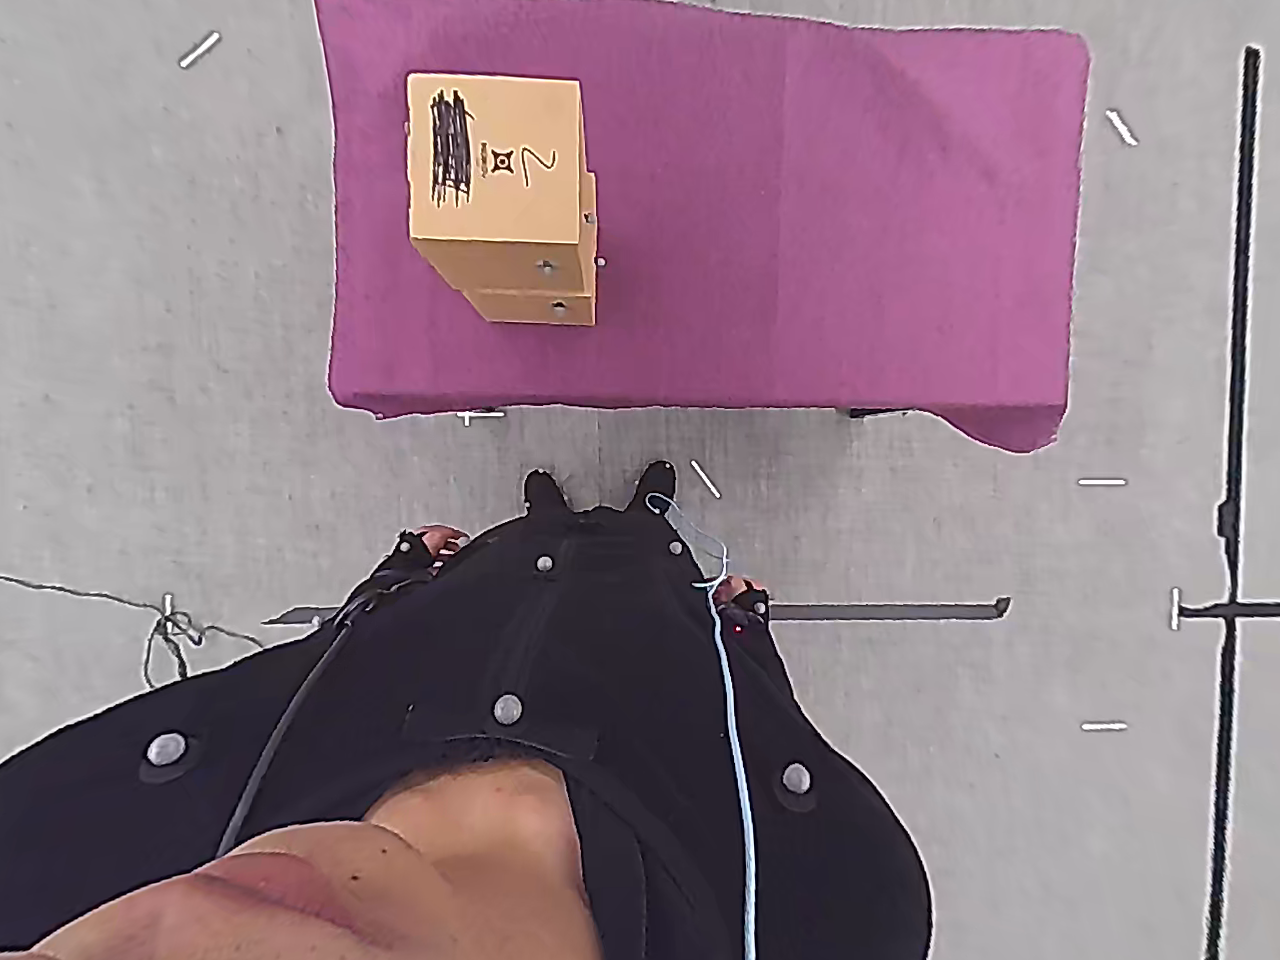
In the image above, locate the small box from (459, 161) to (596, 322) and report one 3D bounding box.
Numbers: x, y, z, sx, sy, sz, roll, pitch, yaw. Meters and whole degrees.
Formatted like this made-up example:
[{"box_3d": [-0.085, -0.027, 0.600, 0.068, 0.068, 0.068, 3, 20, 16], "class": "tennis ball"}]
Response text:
[{"box_3d": [-0.154, -0.334, 0.791, 0.179, 0.176, 0.168, 2, 93, -4], "class": "small box"}]
